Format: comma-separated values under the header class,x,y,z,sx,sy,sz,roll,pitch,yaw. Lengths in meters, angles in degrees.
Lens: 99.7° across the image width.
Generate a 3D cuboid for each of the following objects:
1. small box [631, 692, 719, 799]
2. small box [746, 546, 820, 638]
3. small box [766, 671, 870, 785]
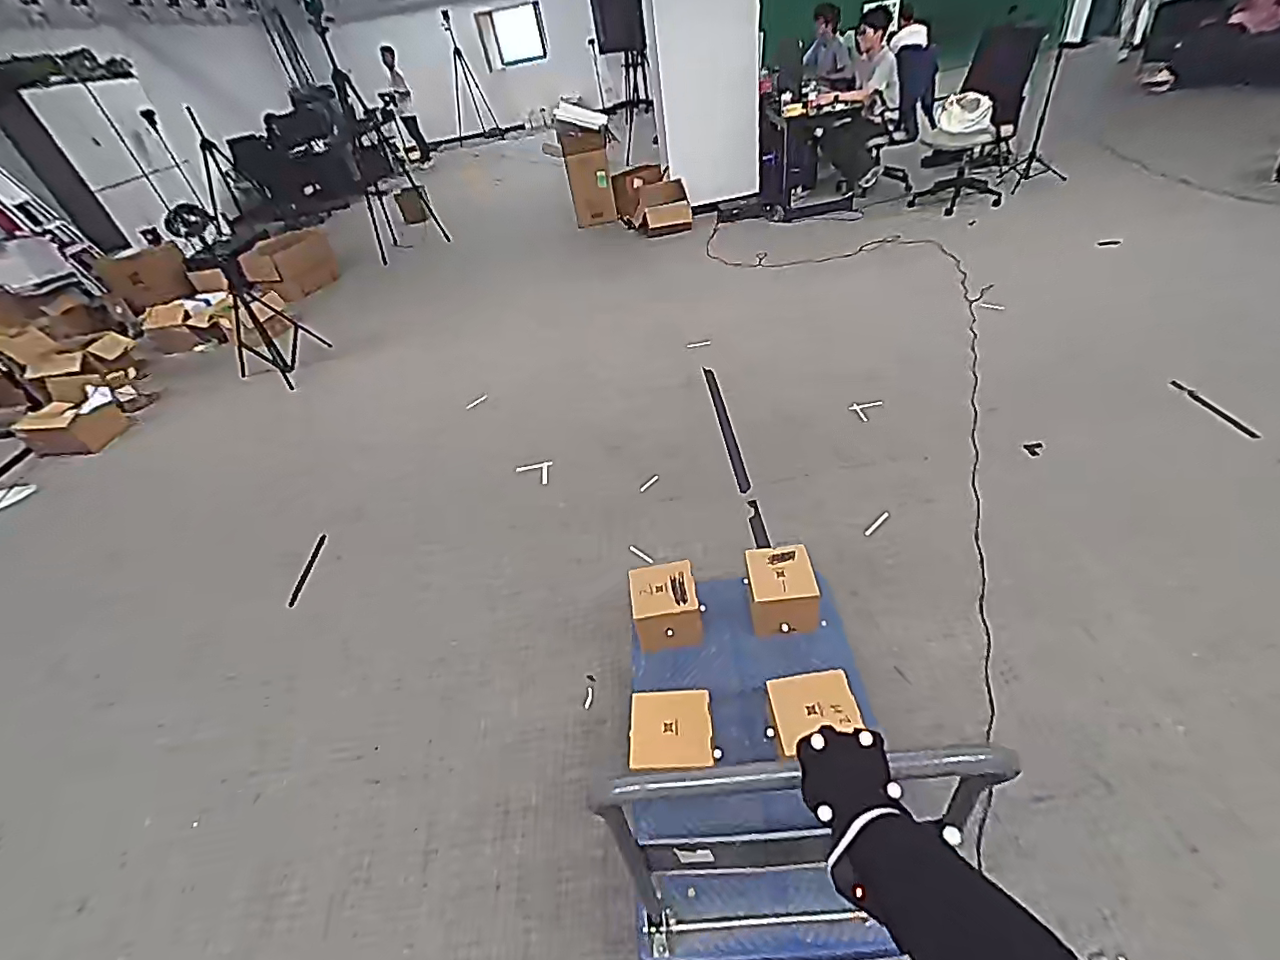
class,x,y,z,sx,sy,sz,roll,pitch,yaw
small box,0.081,0.599,1.217,0.179,0.176,0.168,-5,40,5
small box,0.384,0.307,1.481,0.168,0.176,0.179,-8,41,5
small box,0.387,0.551,1.194,0.179,0.176,0.168,-10,40,3
